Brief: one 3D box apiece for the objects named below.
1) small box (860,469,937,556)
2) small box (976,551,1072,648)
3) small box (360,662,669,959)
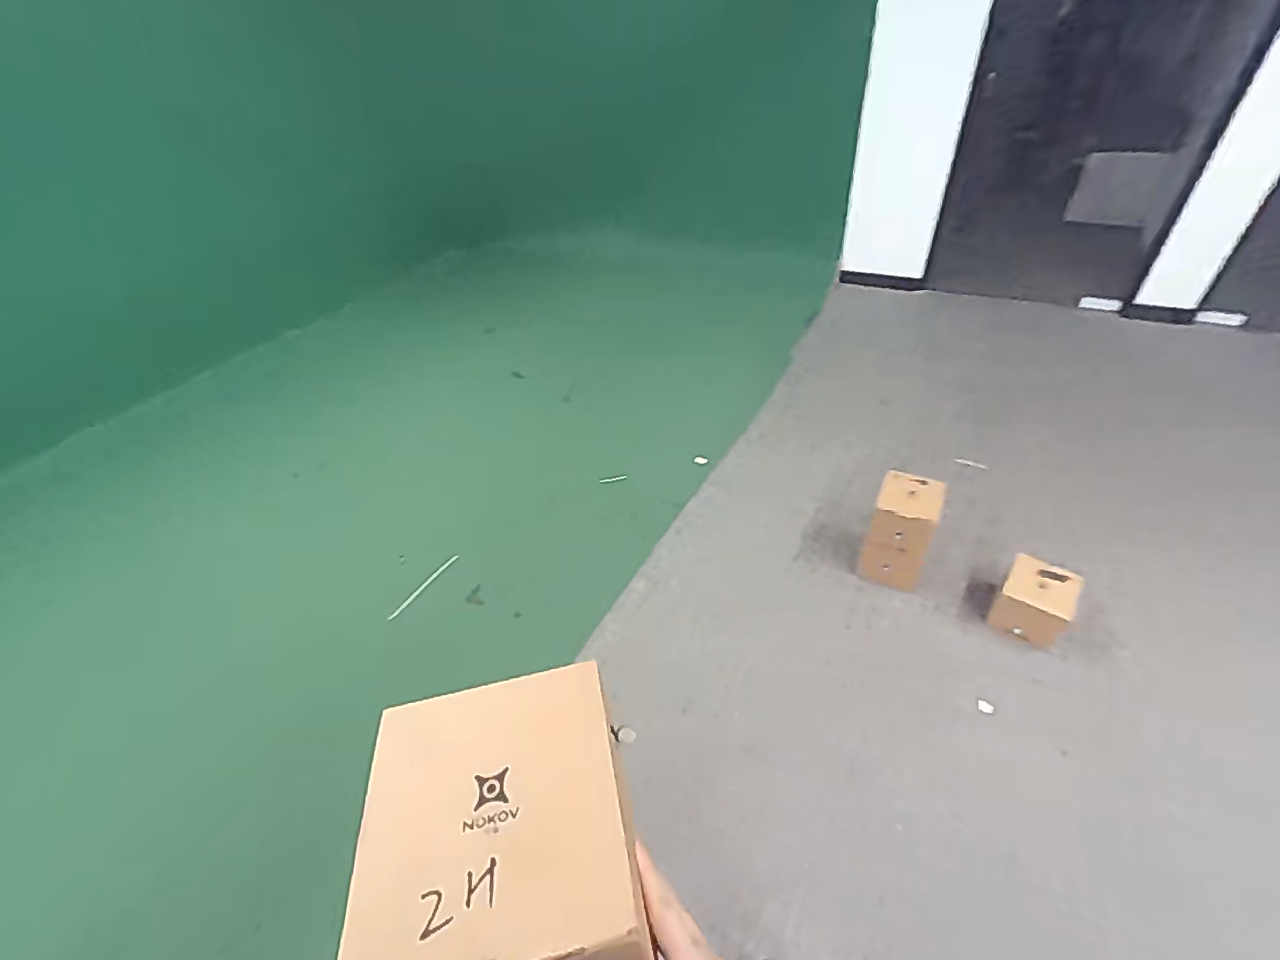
[{"bbox_3d":[0.775,0.100,1.632,0.168,0.176,0.179,17,49,24],"label":"small box"},{"bbox_3d":[1.106,0.346,1.567,0.168,0.176,0.179,25,53,30],"label":"small box"},{"bbox_3d":[-0.077,0.270,0.401,0.168,0.176,0.179,-11,40,-5],"label":"small box"}]
